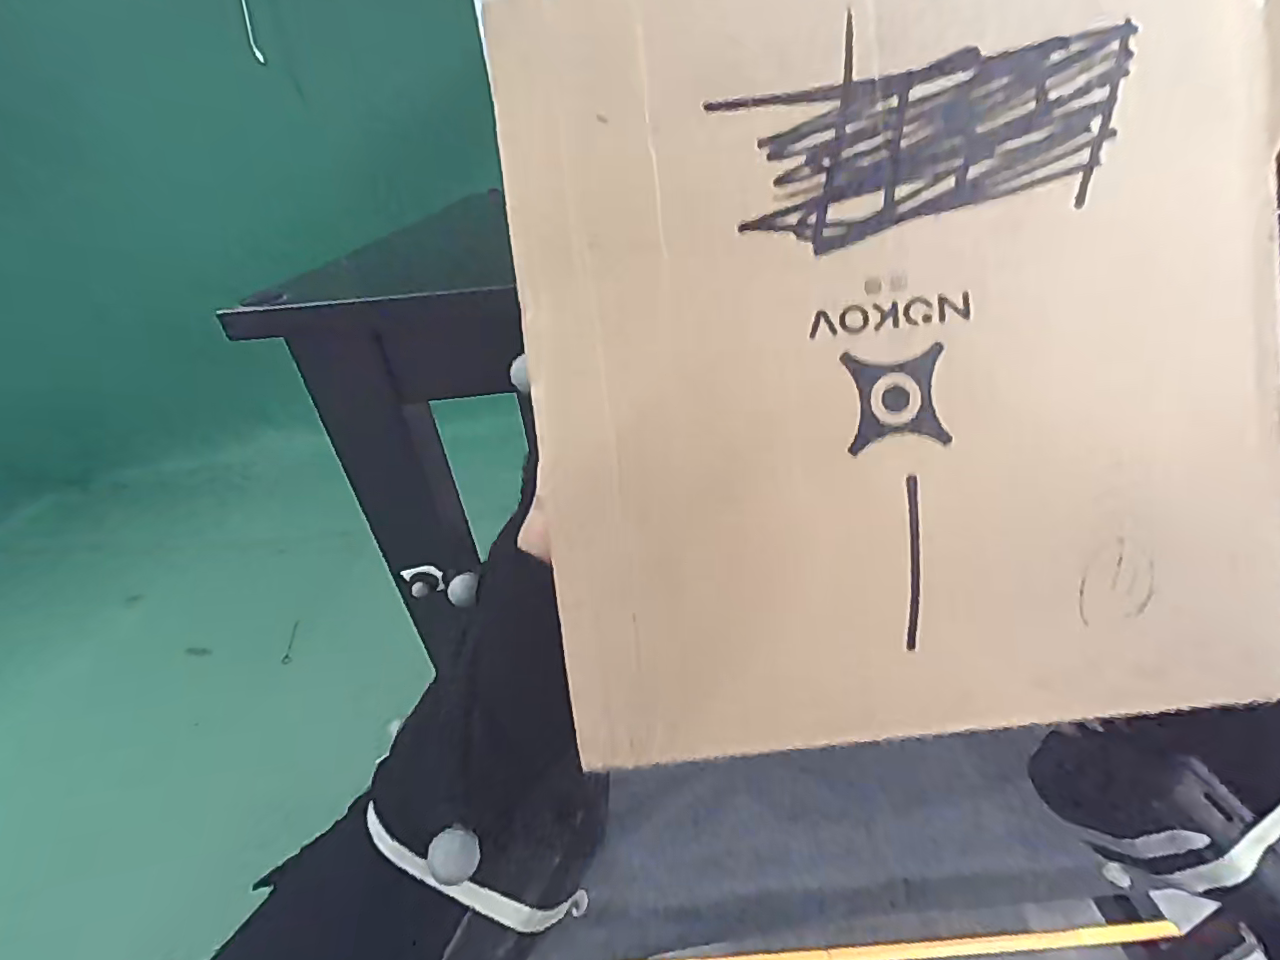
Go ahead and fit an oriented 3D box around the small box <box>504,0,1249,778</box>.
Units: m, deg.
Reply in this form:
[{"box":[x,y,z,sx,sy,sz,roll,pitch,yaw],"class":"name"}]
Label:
[{"box":[0.056,-0.025,0.206,0.168,0.179,0.176,-6,4,1],"class":"small box"}]
